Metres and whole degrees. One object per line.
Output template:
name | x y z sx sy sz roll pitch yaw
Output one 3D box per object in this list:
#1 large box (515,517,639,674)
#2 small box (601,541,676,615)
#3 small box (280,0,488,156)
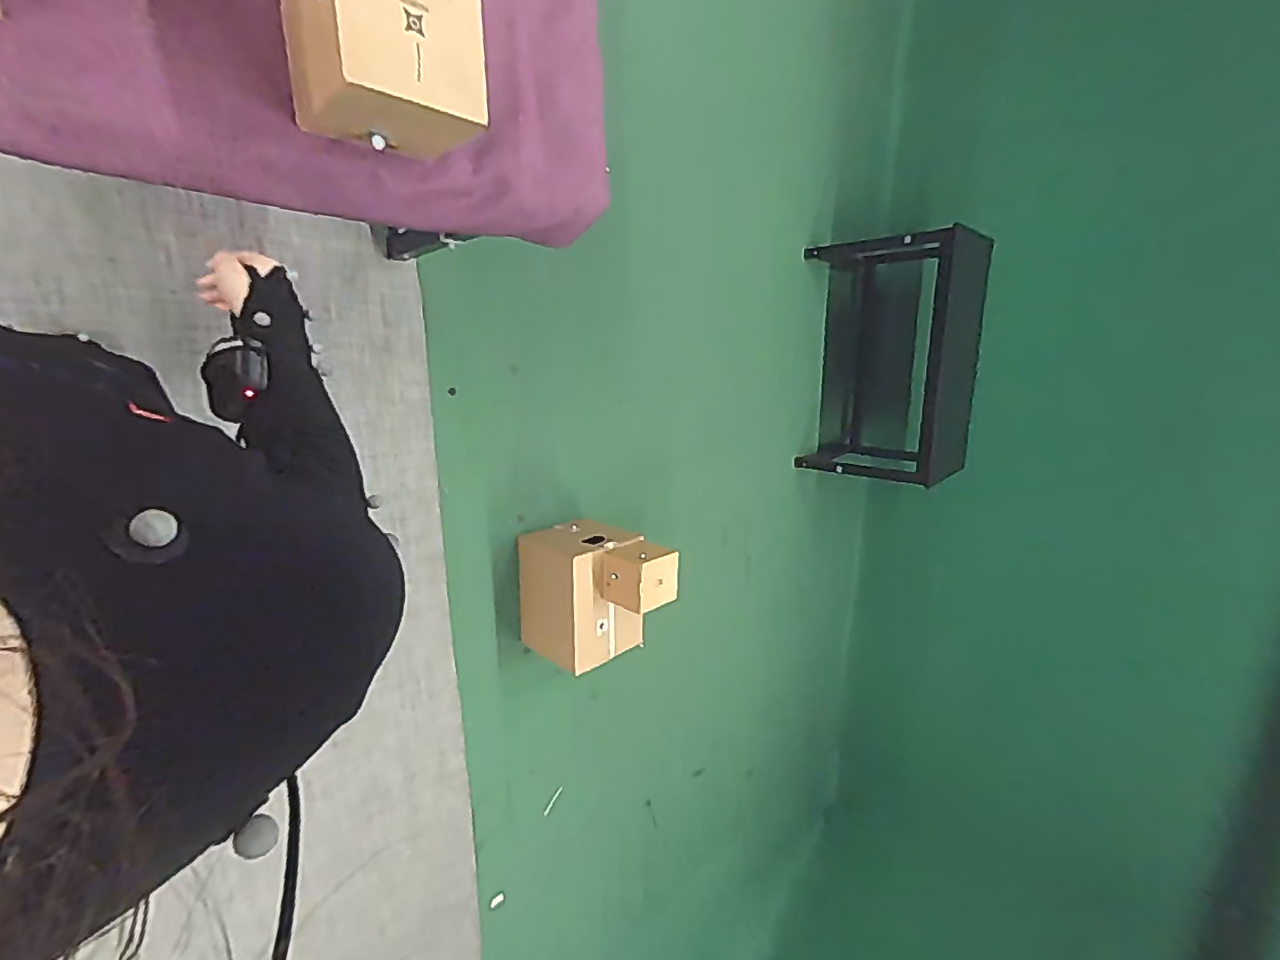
large box | -0.216 0.378 1.878 0.320 0.320 0.408 -11 107 -44
small box | -0.005 0.304 1.727 0.179 0.176 0.168 -11 107 -45
small box | -0.296 -0.509 0.625 0.168 0.176 0.179 -13 108 -44
